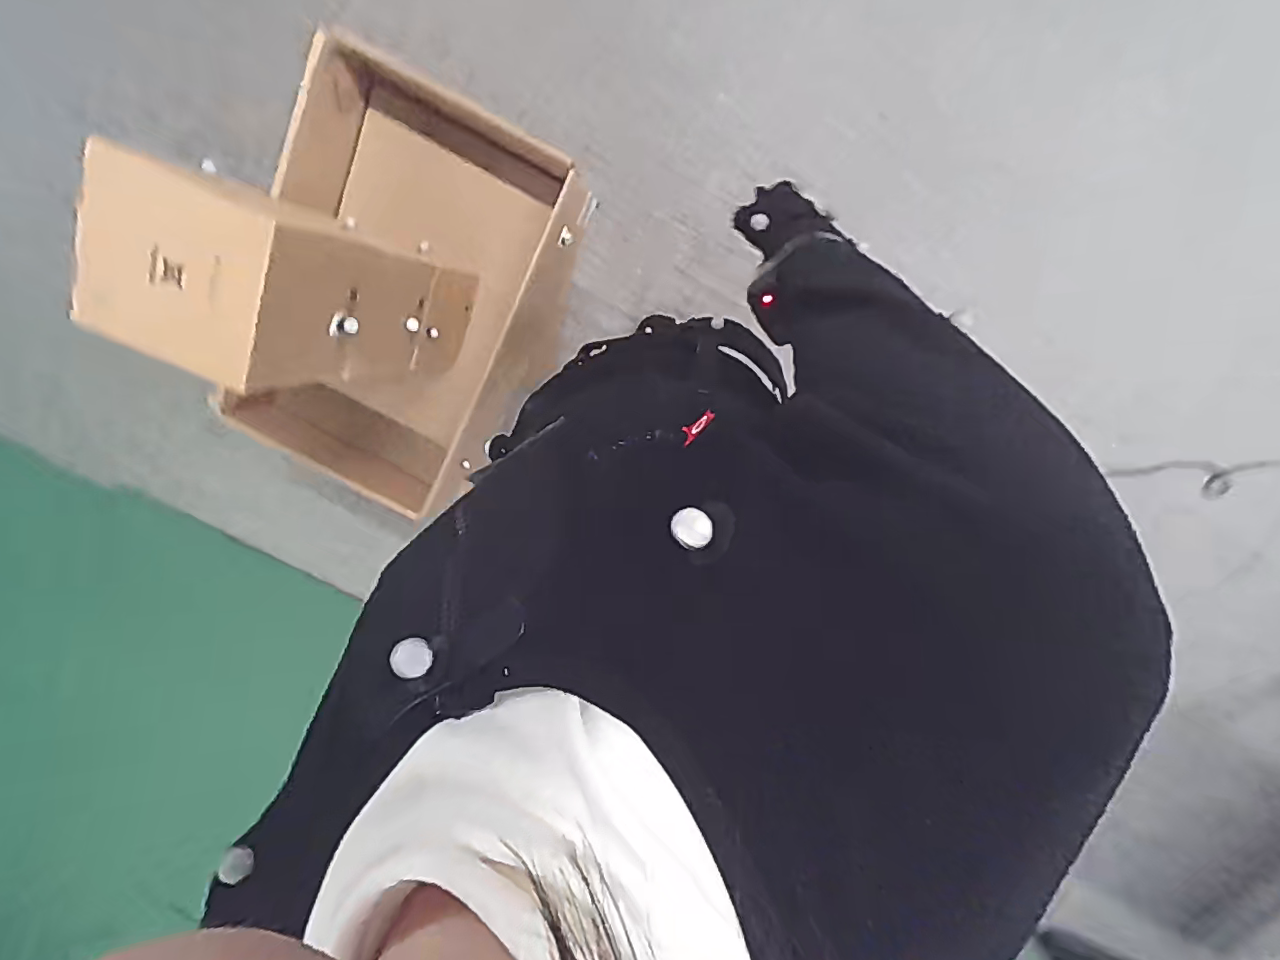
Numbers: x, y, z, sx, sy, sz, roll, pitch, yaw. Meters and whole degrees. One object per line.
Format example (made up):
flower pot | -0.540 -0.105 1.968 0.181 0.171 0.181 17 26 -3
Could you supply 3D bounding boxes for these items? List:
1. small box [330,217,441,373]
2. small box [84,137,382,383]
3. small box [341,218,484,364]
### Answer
small box | -0.402 -0.257 0.727 0.179 0.176 0.168 22 106 -2
small box | -0.412 -0.218 0.569 0.179 0.176 0.168 22 108 -2
small box | -0.385 -0.300 0.883 0.179 0.176 0.168 22 108 0
